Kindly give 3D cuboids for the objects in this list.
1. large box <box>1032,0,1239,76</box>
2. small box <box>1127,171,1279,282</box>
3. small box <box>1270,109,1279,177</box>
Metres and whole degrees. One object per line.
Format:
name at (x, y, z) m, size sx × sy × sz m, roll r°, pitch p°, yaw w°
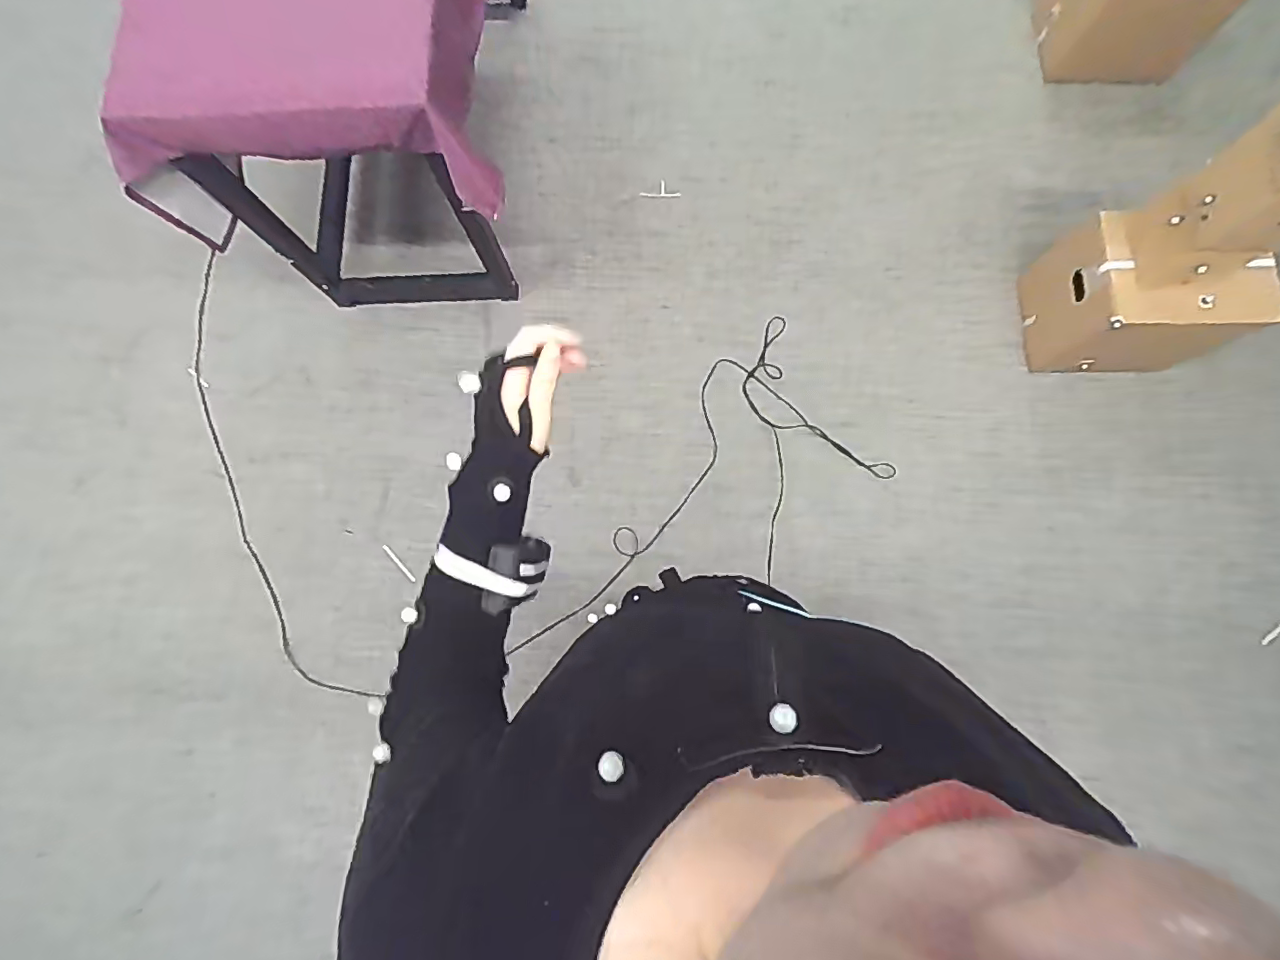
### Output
large box at (1.527, -1.506, 1.662) m, size 0.408 × 0.320 × 0.320 m, roll 1°, pitch 80°, yaw 0°
small box at (1.287, -0.574, 1.248) m, size 0.168 × 0.176 × 0.179 m, roll -1°, pitch 78°, yaw 1°
small box at (1.266, -0.631, 0.923) m, size 0.179 × 0.176 × 0.168 m, roll 2°, pitch 78°, yaw 3°
